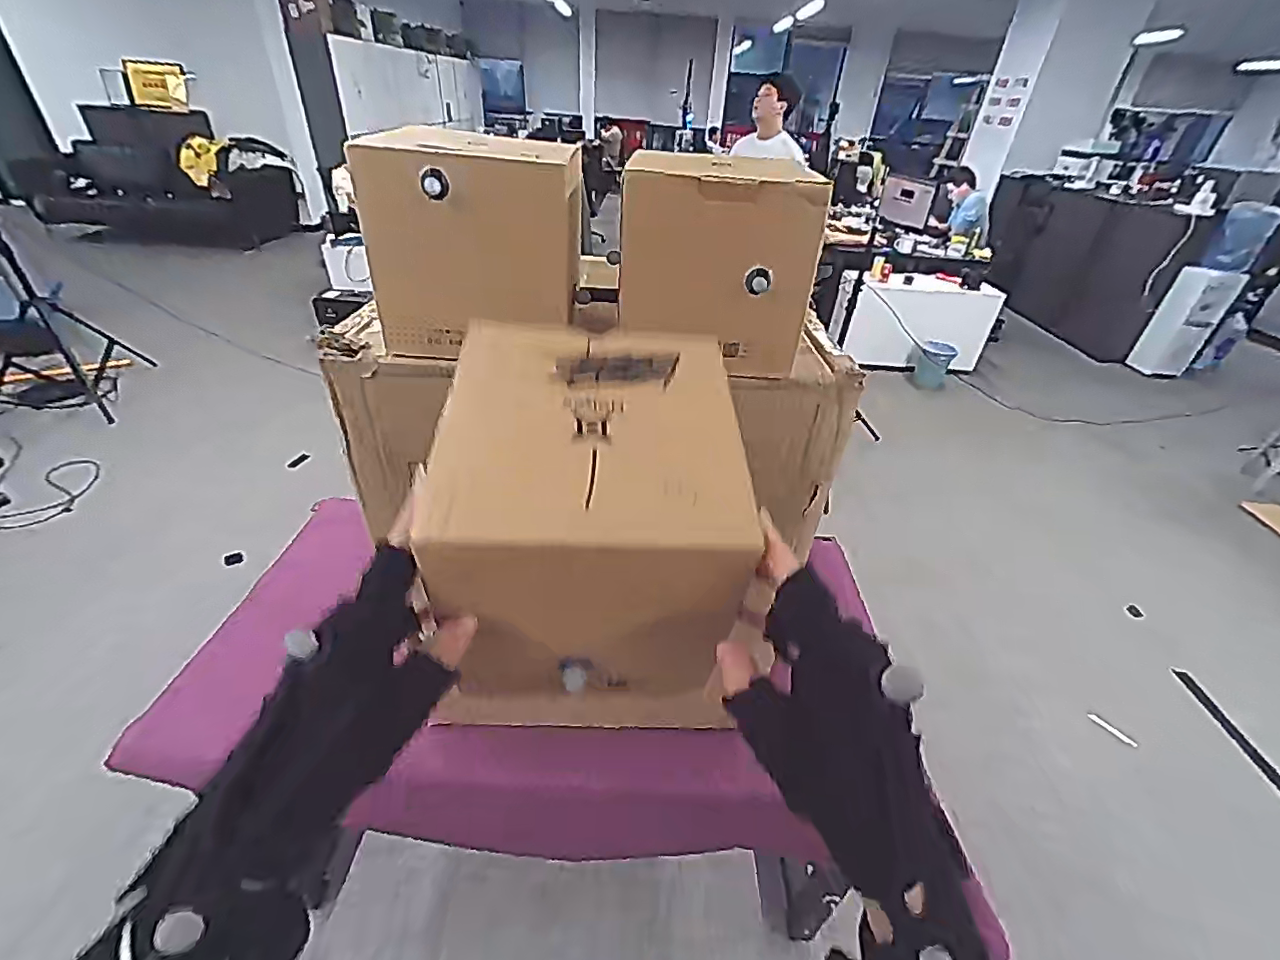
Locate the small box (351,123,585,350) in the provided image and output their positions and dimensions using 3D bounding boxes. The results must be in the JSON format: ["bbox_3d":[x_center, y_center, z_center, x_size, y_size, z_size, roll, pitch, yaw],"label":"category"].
[{"bbox_3d":[-0.142,-0.231,0.516,0.168,0.176,0.179,3,34,-3],"label":"small box"}]

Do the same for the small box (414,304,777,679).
[{"bbox_3d":[-0.029,0.008,0.353,0.168,0.176,0.179,2,46,-6],"label":"small box"}]

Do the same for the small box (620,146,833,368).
[{"bbox_3d":[0.069,-0.219,0.528,0.168,0.176,0.179,5,34,0],"label":"small box"}]
